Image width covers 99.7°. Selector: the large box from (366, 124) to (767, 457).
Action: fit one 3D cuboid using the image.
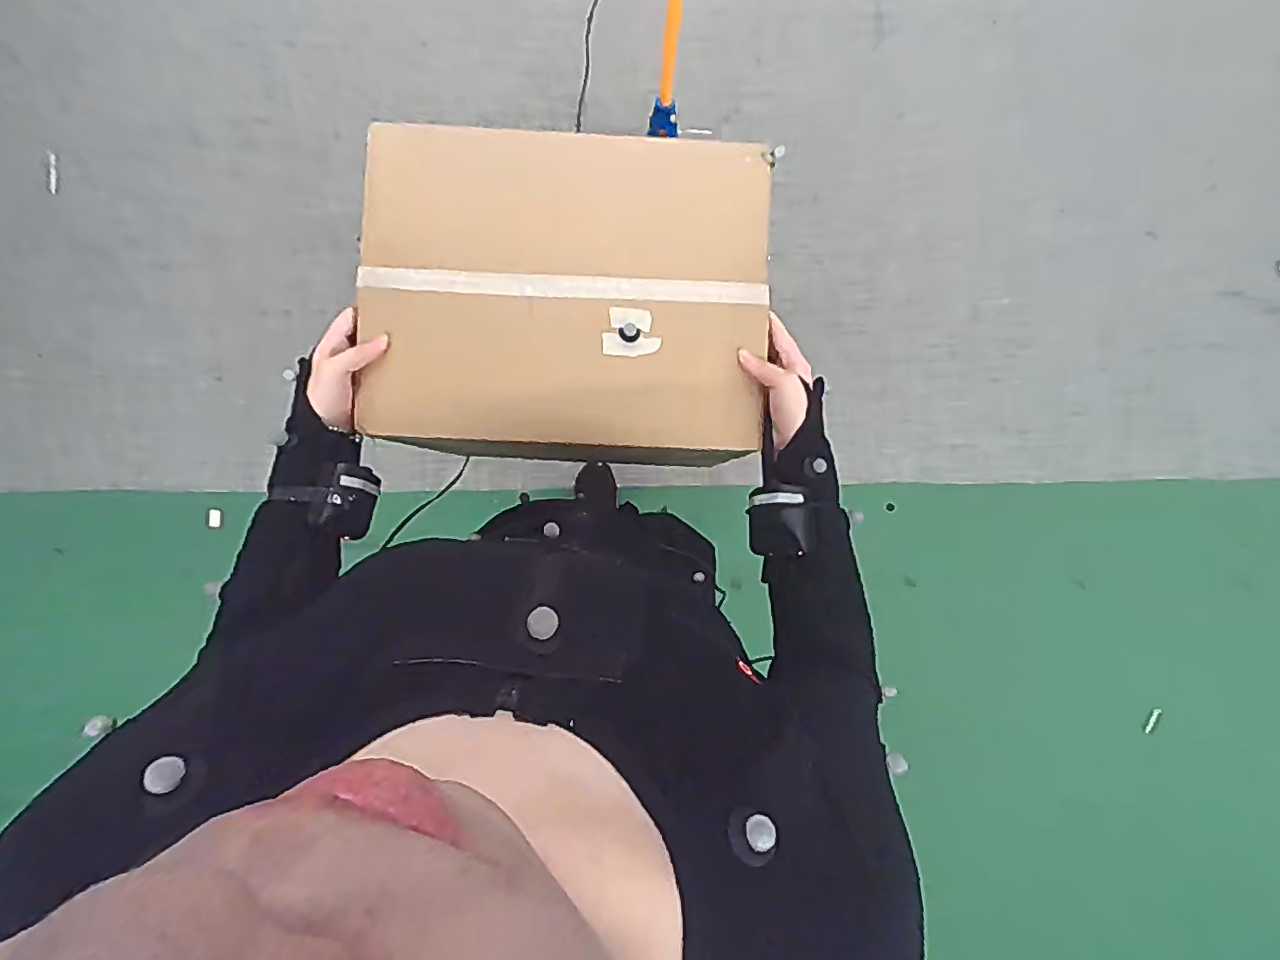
[{"bbox_3d":[-0.078,-0.196,0.693,0.408,0.320,0.320,2,89,-3],"label":"large box"}]
